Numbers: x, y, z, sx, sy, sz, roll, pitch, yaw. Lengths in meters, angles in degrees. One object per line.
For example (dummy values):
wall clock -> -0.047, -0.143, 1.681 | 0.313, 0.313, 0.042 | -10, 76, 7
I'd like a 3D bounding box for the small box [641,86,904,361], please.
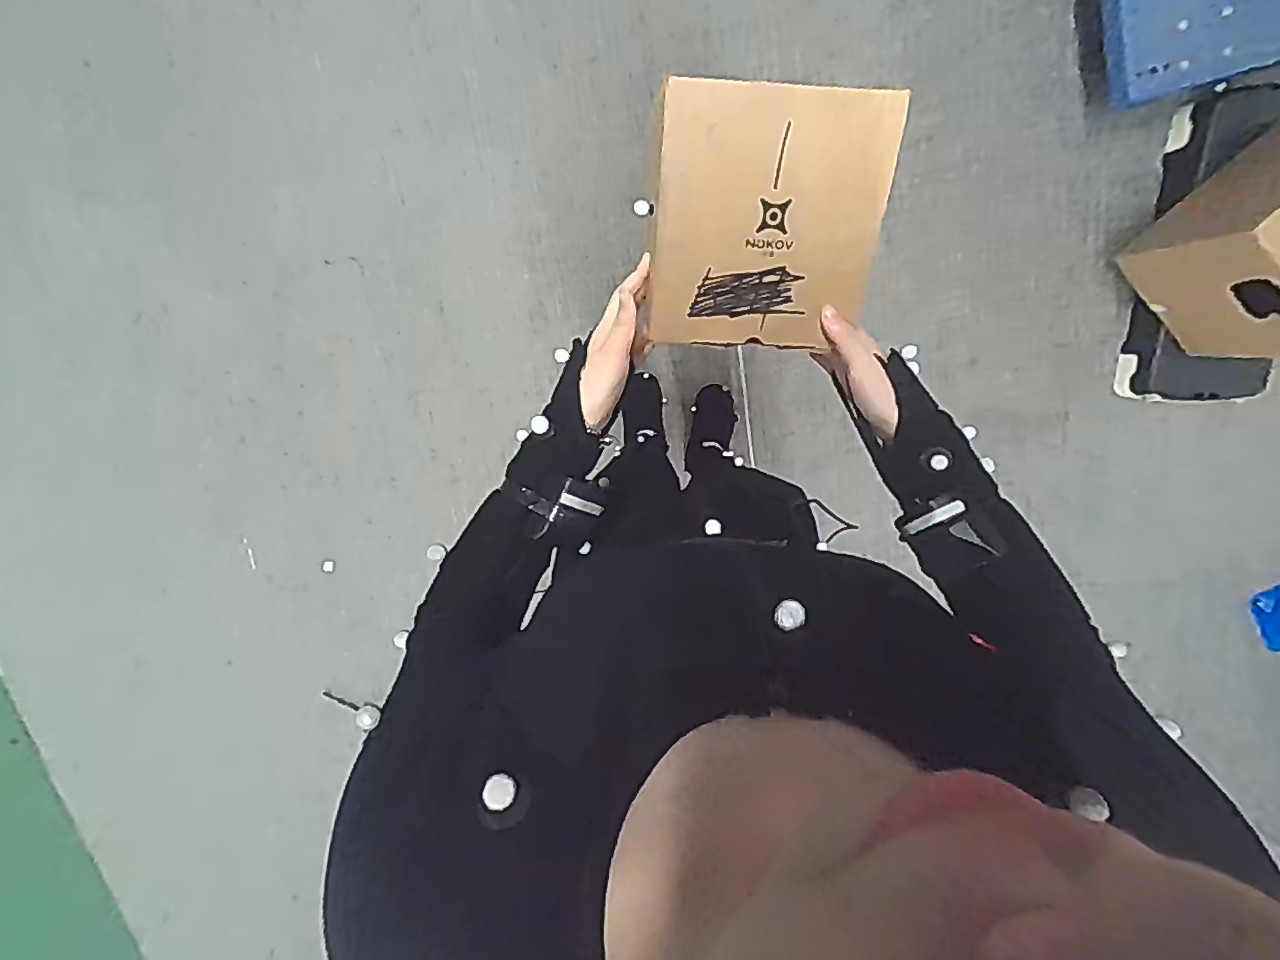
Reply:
small box -> 0.089, -0.214, 0.467 | 0.168, 0.176, 0.179 | 2, 117, -4
